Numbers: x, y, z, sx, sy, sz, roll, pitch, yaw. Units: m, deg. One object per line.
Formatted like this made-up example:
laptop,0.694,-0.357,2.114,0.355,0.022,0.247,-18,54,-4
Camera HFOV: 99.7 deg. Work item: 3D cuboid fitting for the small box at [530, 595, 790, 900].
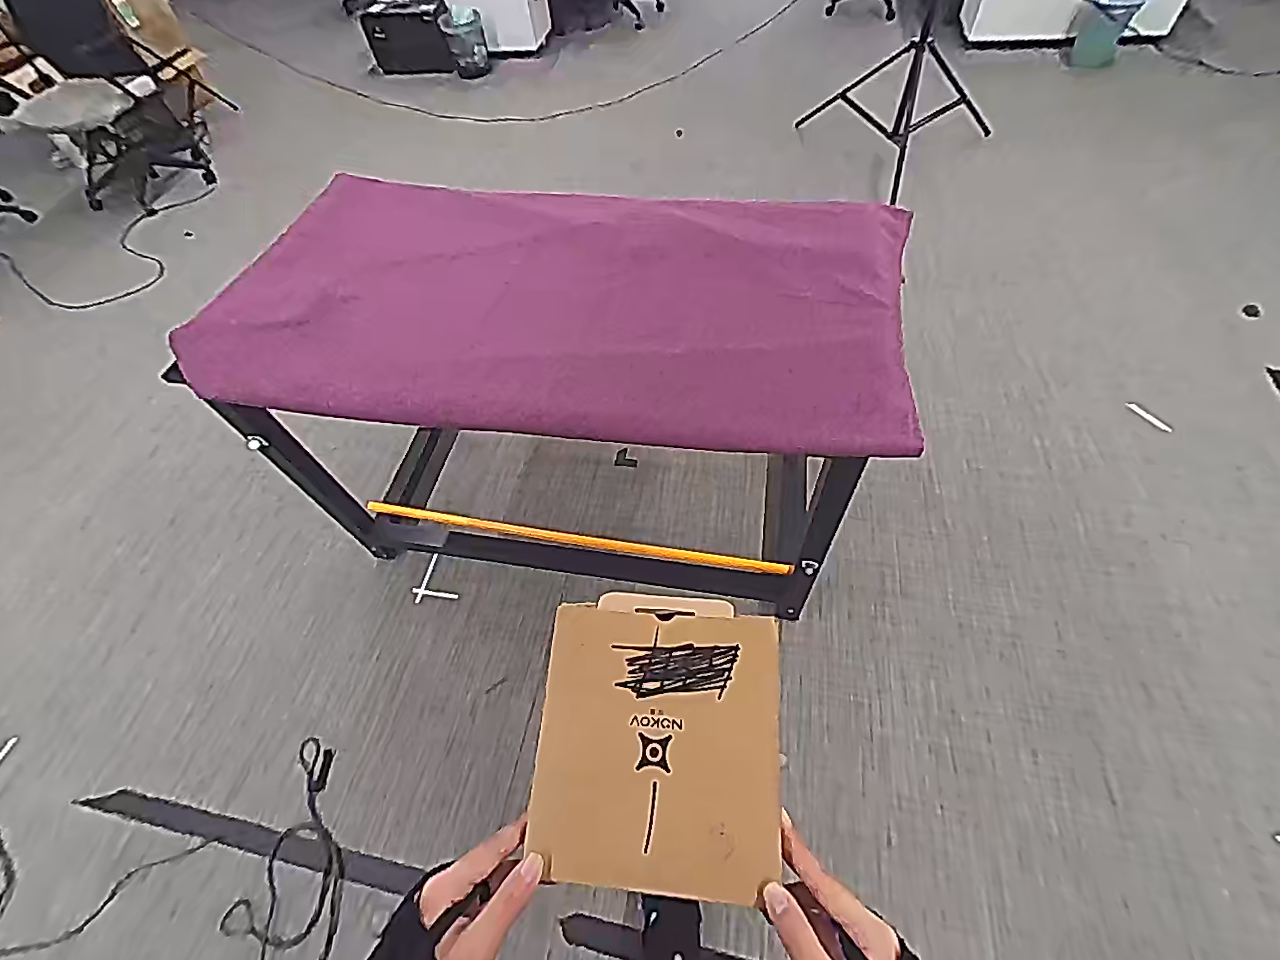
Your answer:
small box,0.025,0.204,0.441,0.168,0.176,0.179,2,65,8
